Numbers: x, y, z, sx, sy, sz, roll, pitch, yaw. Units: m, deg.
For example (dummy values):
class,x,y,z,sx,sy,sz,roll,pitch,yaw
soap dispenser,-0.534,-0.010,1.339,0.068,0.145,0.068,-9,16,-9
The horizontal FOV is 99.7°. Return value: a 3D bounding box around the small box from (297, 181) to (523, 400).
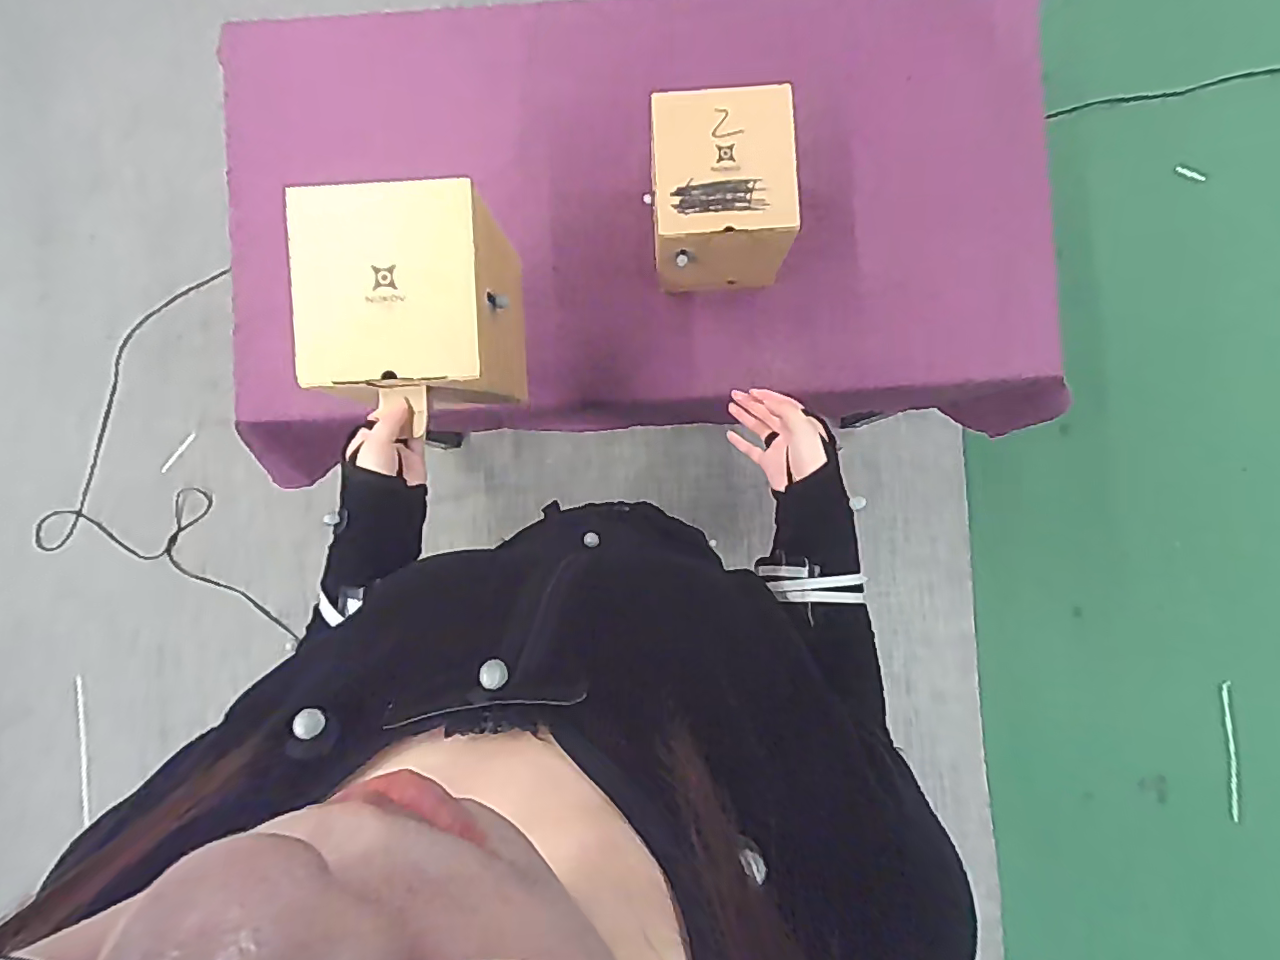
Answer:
class,x,y,z,sx,sy,sz,roll,pitch,yaw
small box,-0.224,-0.183,0.569,0.168,0.176,0.179,-2,93,1
